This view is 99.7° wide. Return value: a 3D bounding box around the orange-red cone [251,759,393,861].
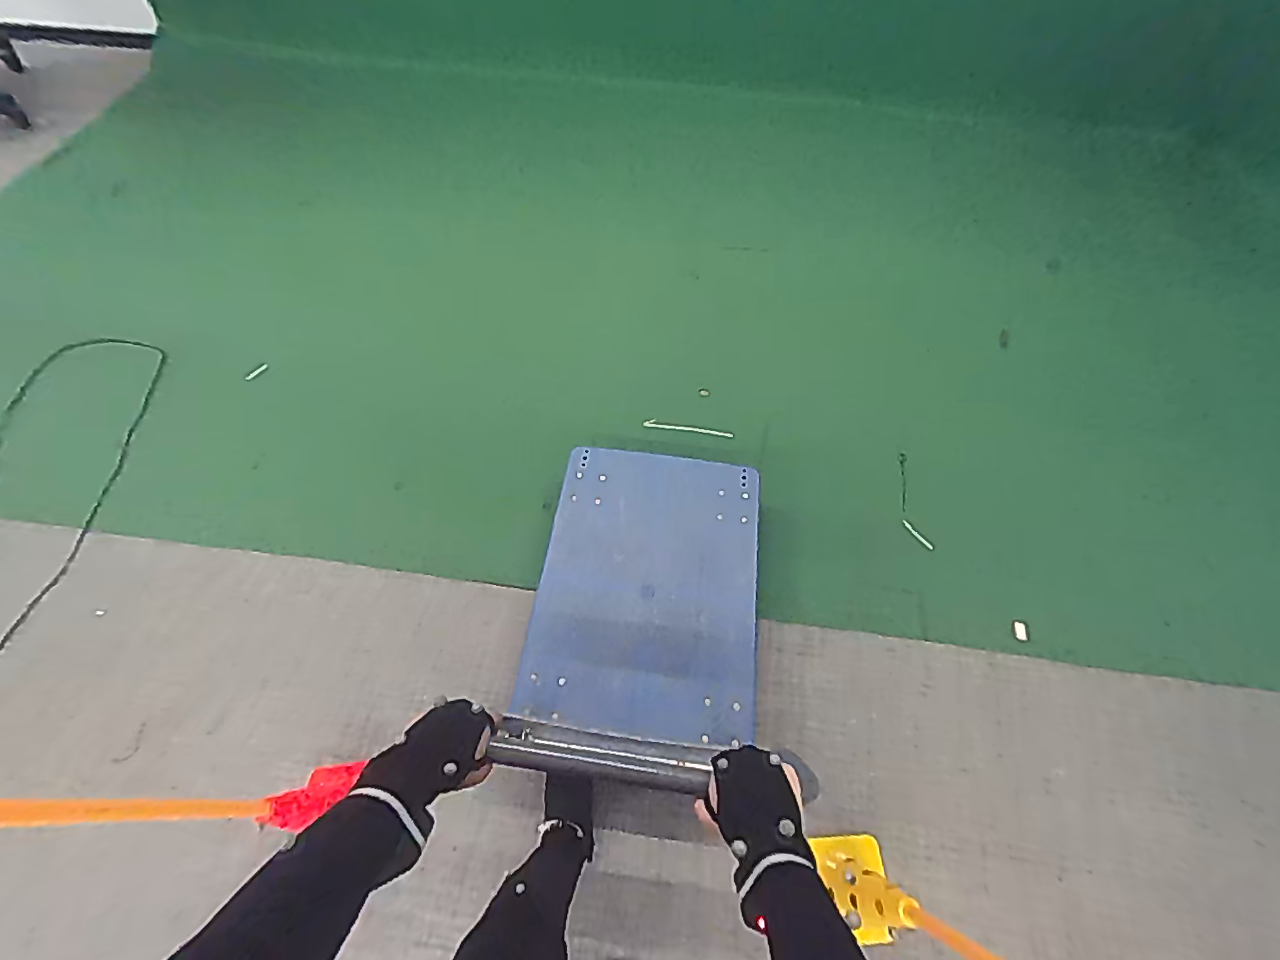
[{"bbox_3d":[-0.703,0.697,1.148,0.199,0.360,0.198,-6,59,-3],"label":"orange-red cone"}]
